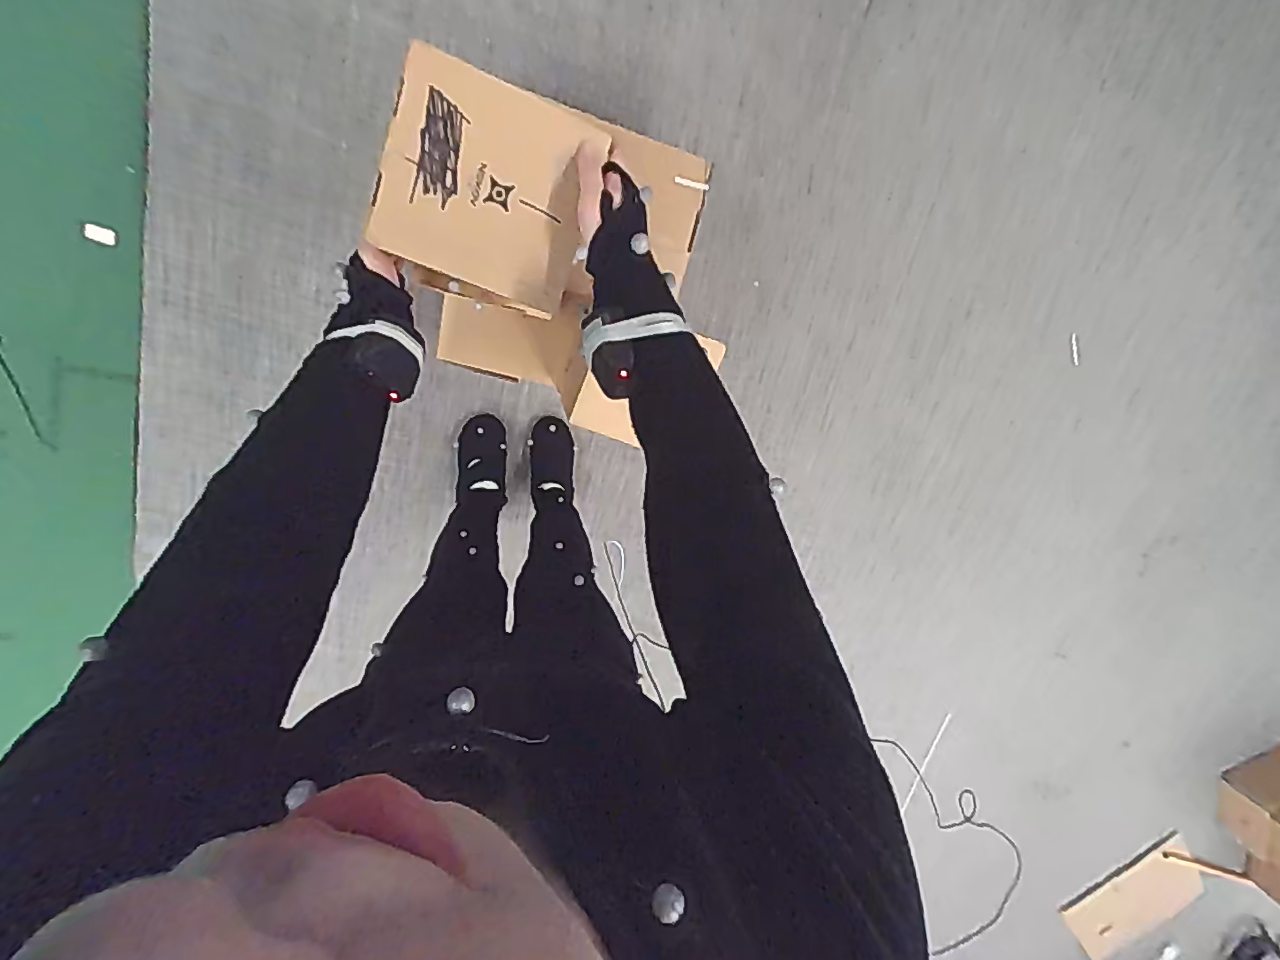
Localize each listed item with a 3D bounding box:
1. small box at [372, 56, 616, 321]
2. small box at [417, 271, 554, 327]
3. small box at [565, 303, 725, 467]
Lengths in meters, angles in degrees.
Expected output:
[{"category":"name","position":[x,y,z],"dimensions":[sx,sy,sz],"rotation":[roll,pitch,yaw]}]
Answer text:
[{"category":"small box","position":[-0.144,-0.273,0.555],"dimensions":[0.179,0.176,0.168],"rotation":[17,104,-17]},{"category":"small box","position":[-0.179,-0.312,0.711],"dimensions":[0.168,0.176,0.179],"rotation":[13,105,-15]},{"category":"small box","position":[-0.005,-0.145,0.799],"dimensions":[0.168,0.176,0.179],"rotation":[20,103,-17]}]
